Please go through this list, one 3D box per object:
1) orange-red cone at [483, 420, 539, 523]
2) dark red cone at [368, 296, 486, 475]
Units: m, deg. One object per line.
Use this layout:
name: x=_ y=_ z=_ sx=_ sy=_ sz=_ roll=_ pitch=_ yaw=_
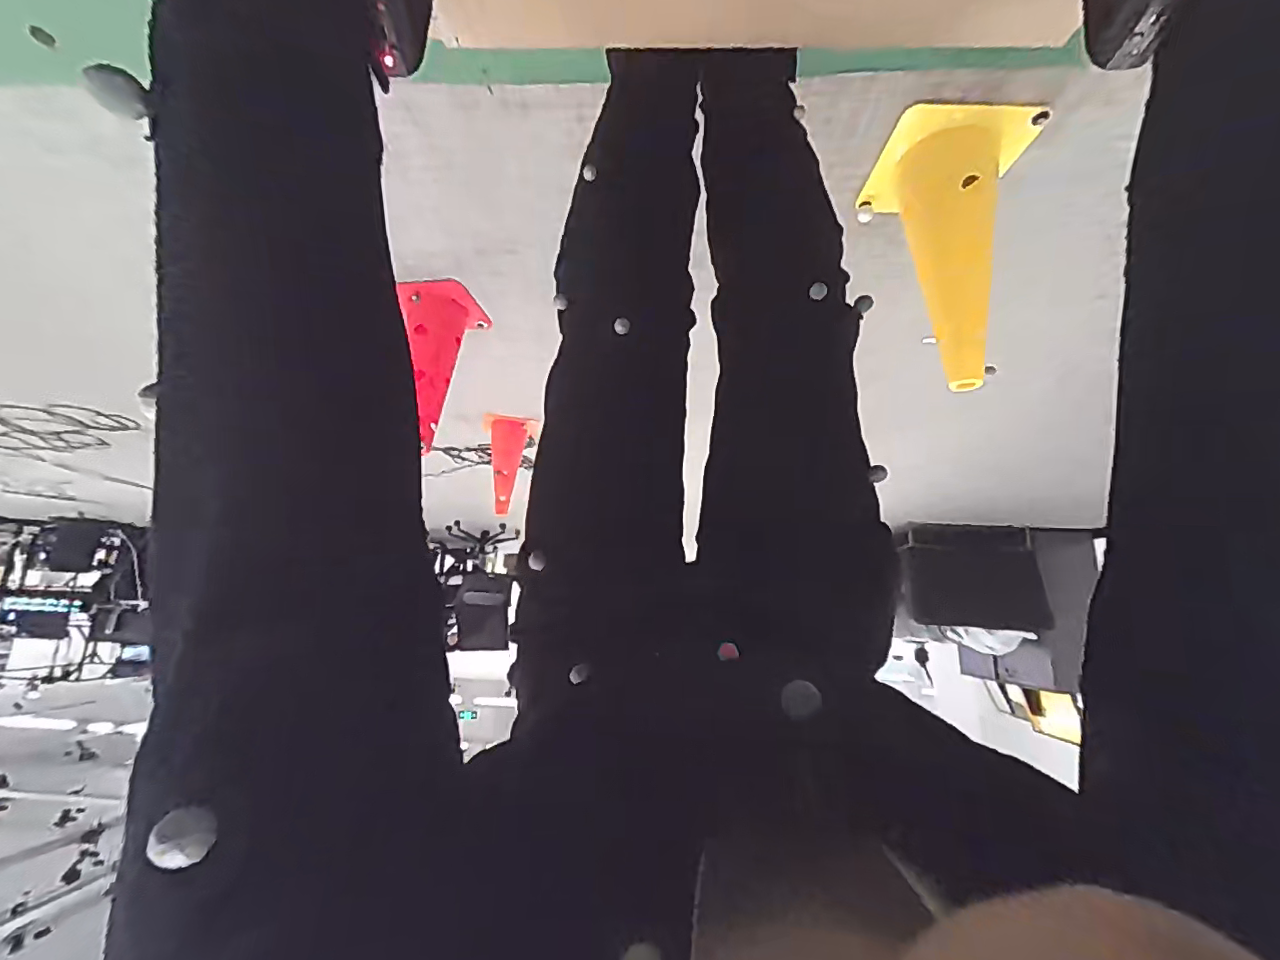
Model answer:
orange-red cone: x=-0.500 y=-0.019 z=2.000 sx=0.199 sy=0.360 sz=0.198 roll=8 pitch=164 yaw=-16
dark red cone: x=-0.485 y=-0.201 z=1.184 sx=0.202 sy=0.394 sz=0.201 roll=0 pitch=163 yaw=11
